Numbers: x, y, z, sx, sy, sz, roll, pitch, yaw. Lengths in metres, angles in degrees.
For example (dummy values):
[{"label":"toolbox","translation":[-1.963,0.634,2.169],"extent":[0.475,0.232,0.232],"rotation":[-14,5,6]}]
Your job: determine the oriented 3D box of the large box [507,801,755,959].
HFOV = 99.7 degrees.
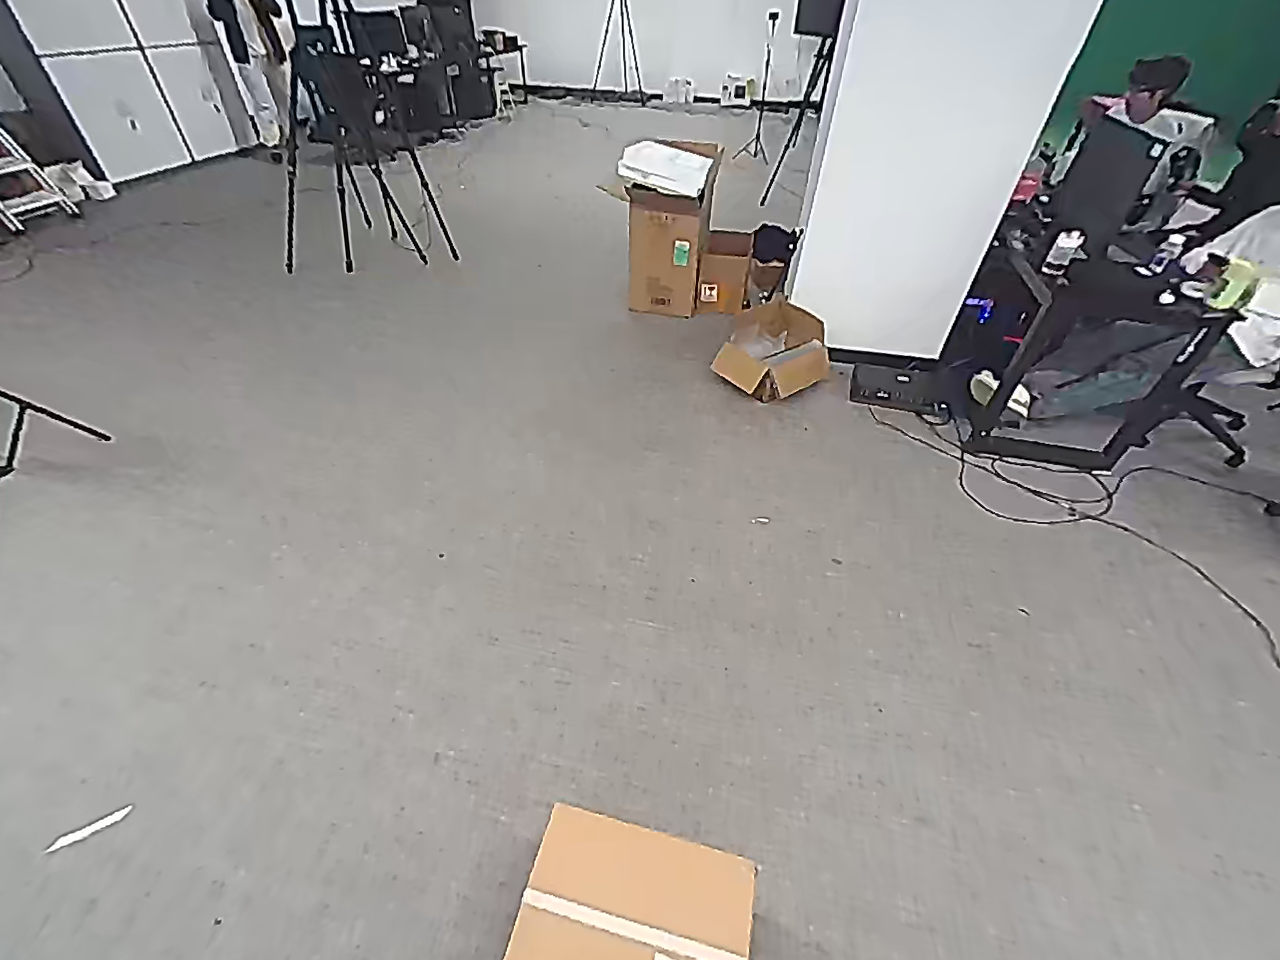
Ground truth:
[{"label":"large box","translation":[-0.017,0.887,1.047],"extent":[0.408,0.320,0.320],"rotation":[11,44,9]}]
